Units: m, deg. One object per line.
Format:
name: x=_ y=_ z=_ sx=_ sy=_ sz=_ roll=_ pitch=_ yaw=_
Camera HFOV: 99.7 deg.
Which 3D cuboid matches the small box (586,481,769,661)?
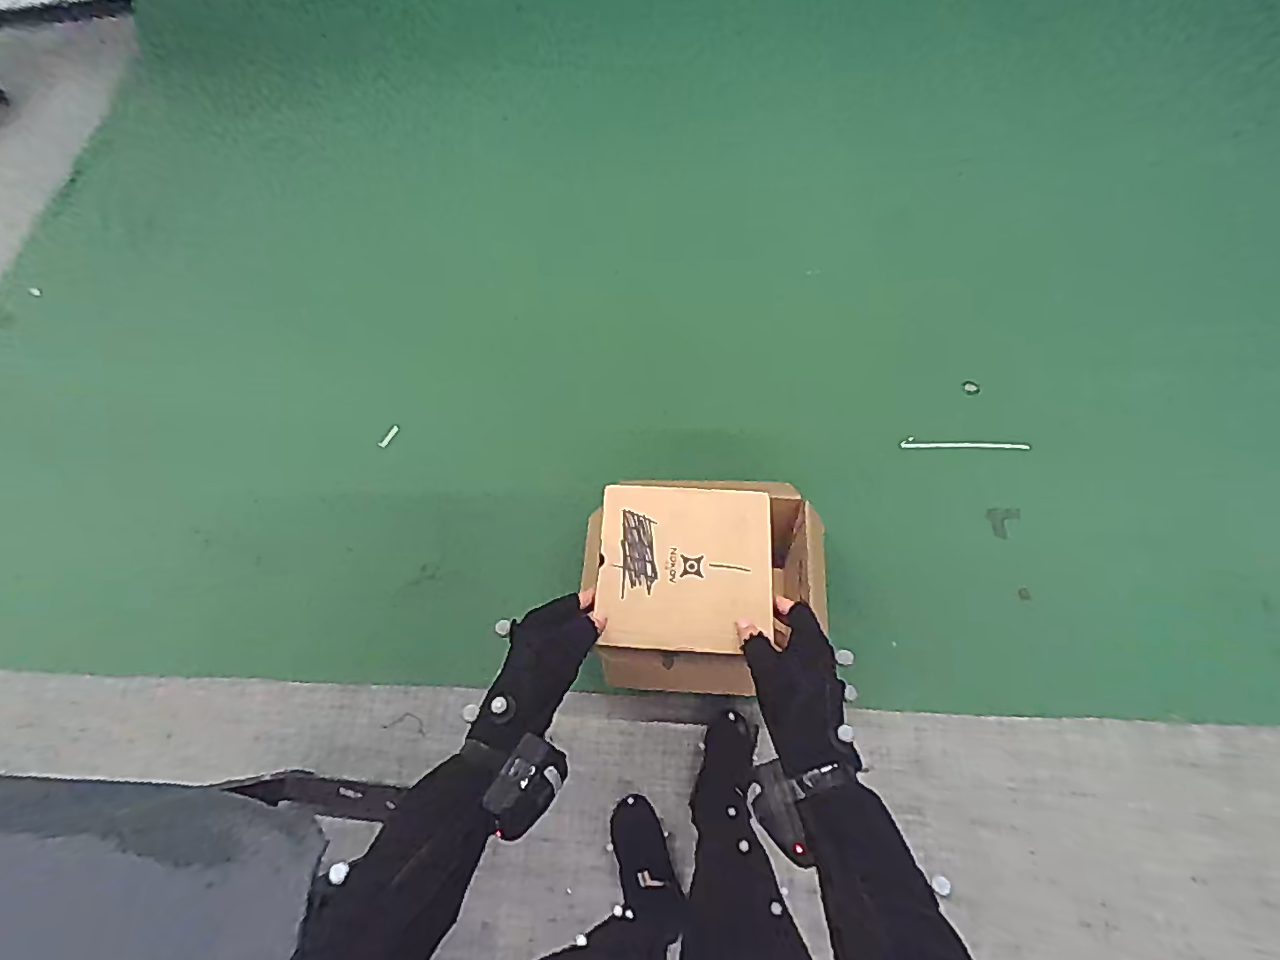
small box: x=0.045 y=0.110 z=0.613 sx=0.179 sy=0.176 sz=0.168 roll=2 pitch=67 yaw=5
